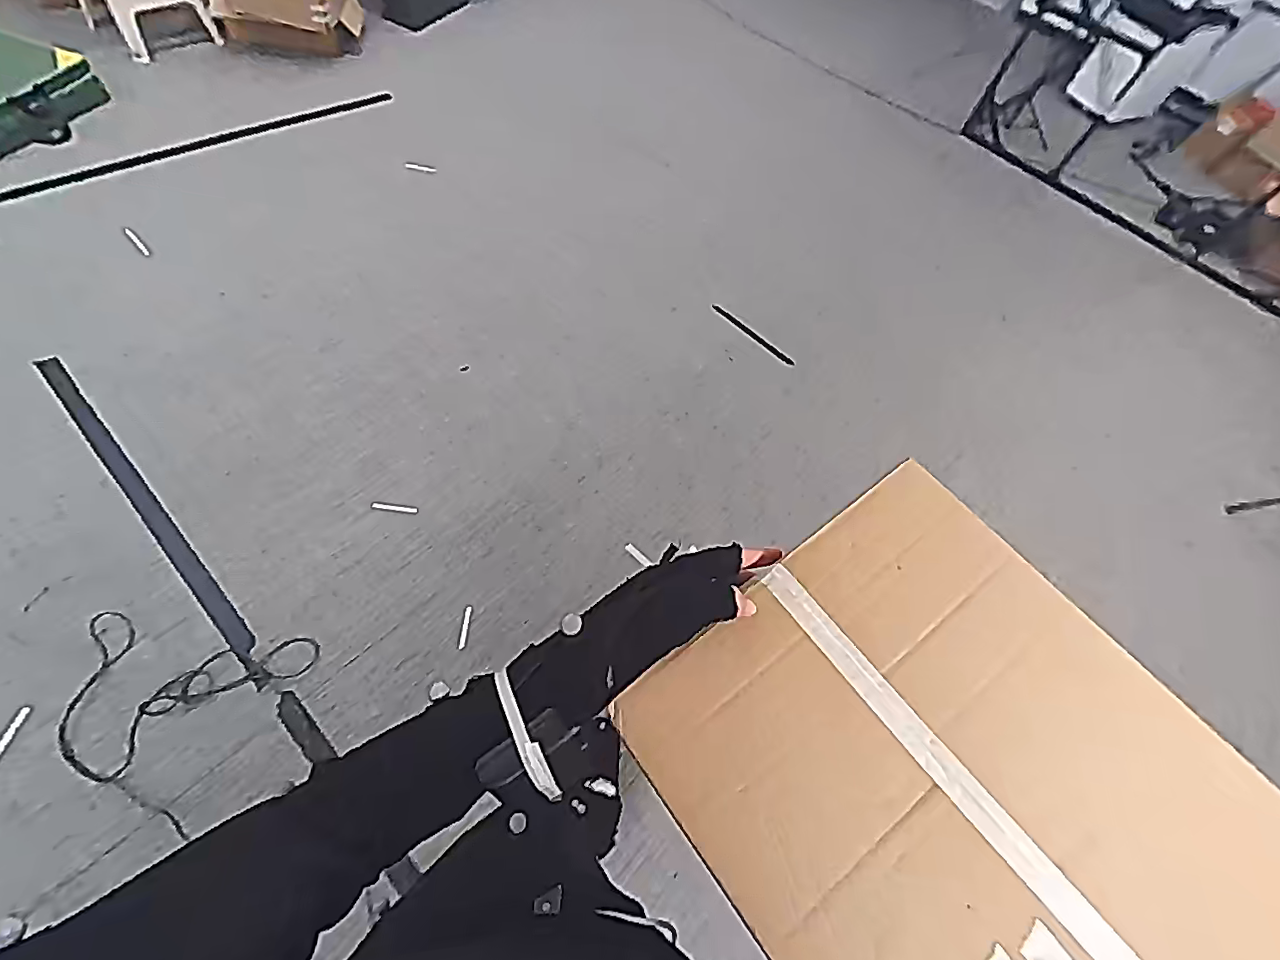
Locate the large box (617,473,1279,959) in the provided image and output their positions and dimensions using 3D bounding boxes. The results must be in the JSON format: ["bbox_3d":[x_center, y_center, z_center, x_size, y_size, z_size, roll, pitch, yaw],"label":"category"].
[{"bbox_3d":[0.223,0.276,0.492,0.320,0.320,0.408,-35,69,-12],"label":"large box"}]
